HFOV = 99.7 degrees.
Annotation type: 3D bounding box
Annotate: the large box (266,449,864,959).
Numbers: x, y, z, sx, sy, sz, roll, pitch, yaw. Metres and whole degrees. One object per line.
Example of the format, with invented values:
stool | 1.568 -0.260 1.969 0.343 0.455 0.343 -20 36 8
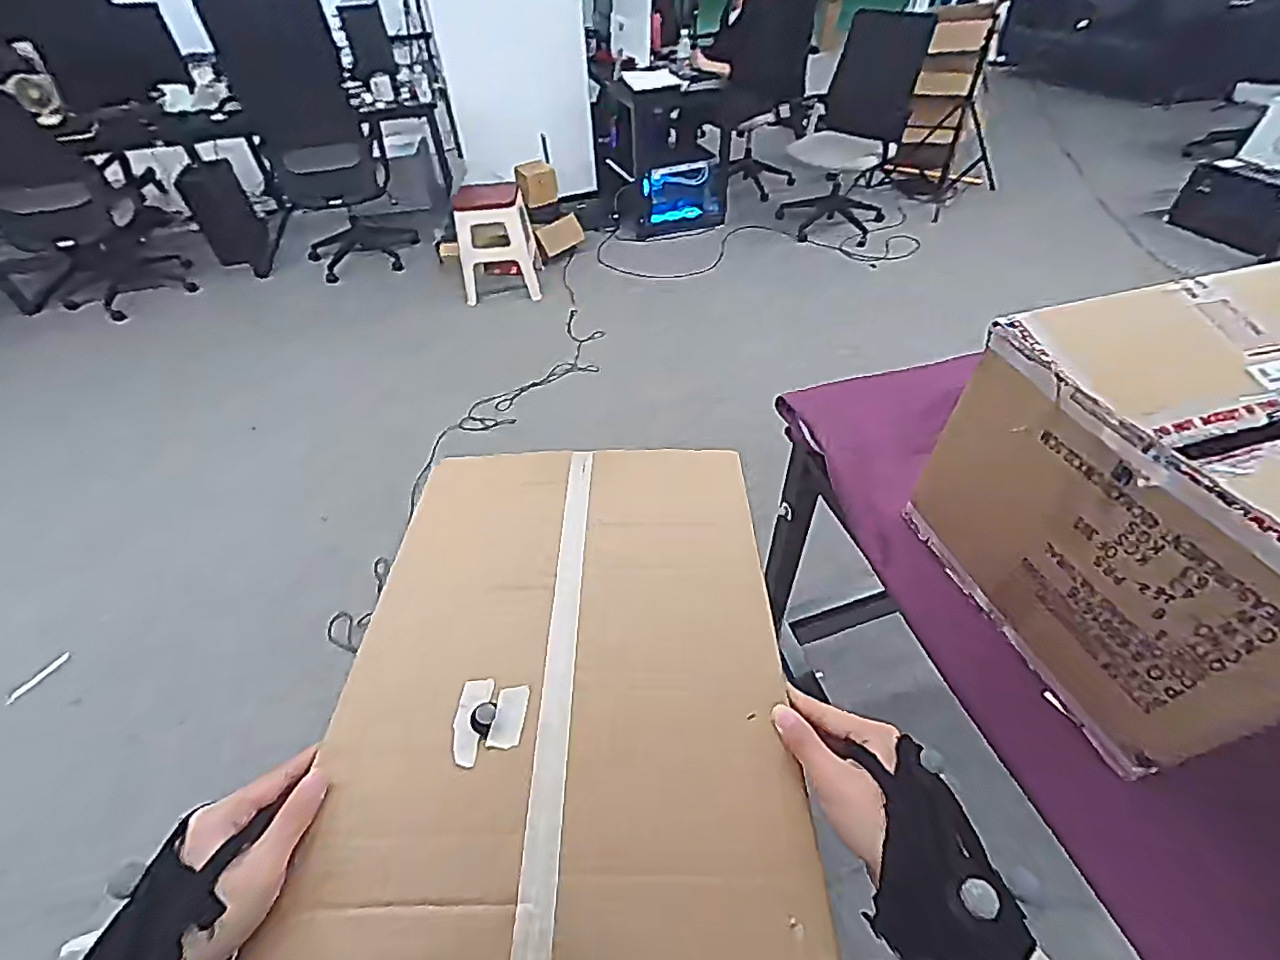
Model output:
large box | -0.041 0.216 0.513 0.320 0.320 0.408 -2 45 1
